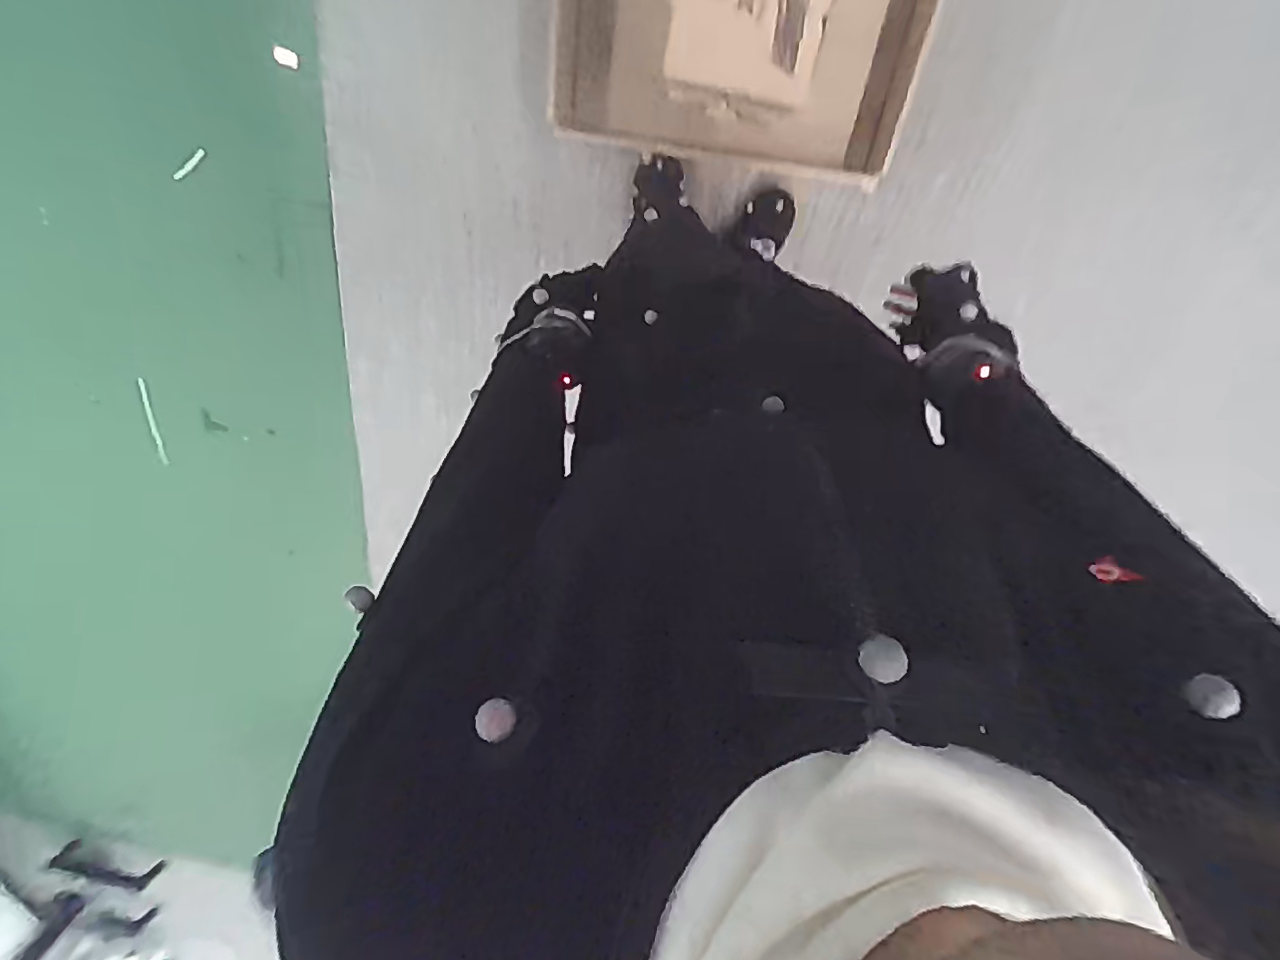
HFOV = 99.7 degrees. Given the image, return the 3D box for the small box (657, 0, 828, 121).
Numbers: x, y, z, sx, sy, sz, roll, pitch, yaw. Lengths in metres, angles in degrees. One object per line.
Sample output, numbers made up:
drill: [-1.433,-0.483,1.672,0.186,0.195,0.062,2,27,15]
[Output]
small box: [0.128,-0.573,0.690,0.179,0.176,0.168,13,120,-1]
